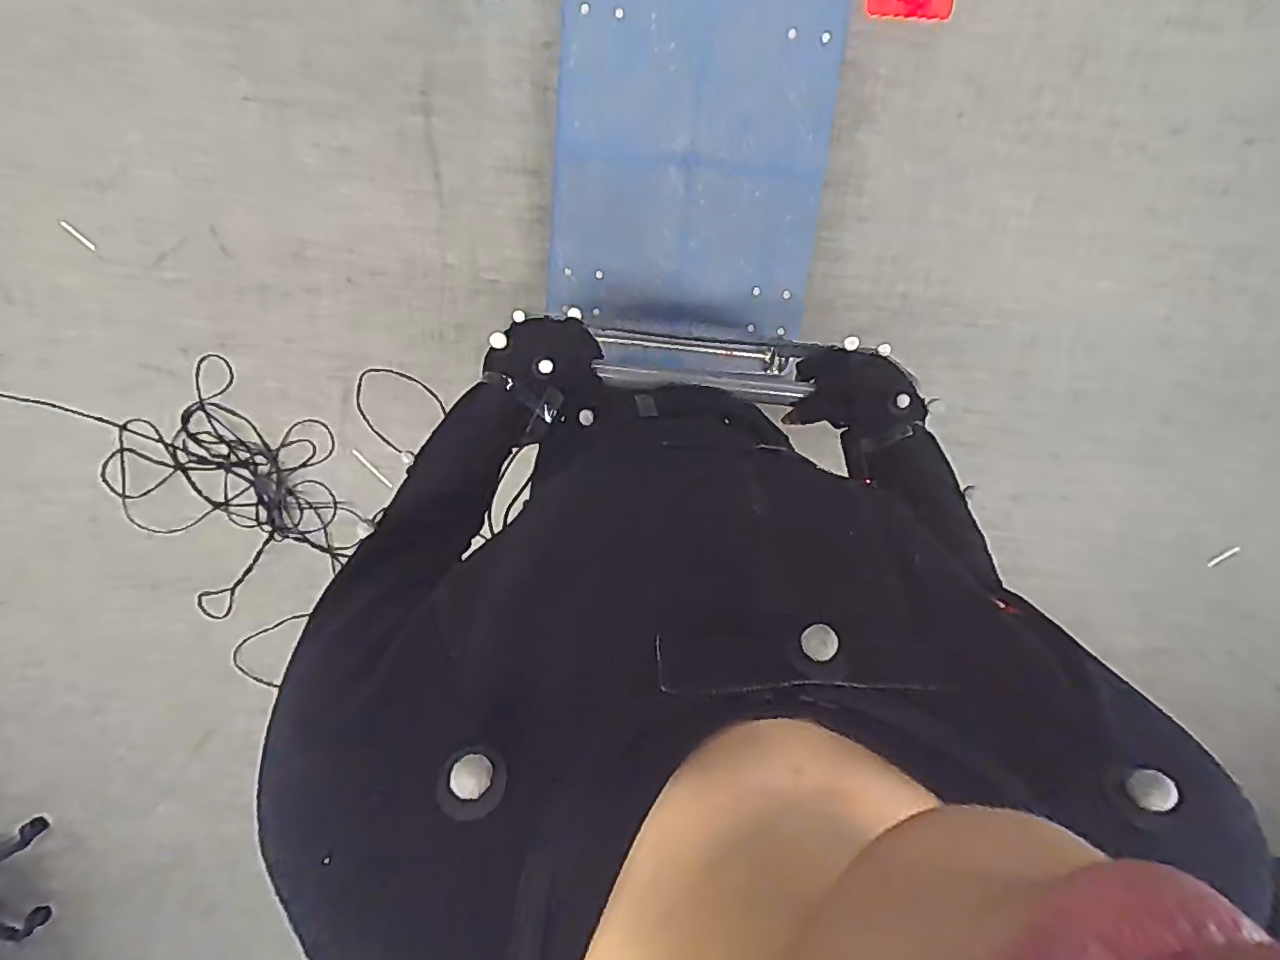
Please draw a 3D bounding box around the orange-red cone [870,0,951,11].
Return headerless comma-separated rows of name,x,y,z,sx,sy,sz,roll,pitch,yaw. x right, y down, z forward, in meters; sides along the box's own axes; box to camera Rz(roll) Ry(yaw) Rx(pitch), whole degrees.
orange-red cone,0.615,-1.135,1.049,0.199,0.360,0.198,4,103,1
